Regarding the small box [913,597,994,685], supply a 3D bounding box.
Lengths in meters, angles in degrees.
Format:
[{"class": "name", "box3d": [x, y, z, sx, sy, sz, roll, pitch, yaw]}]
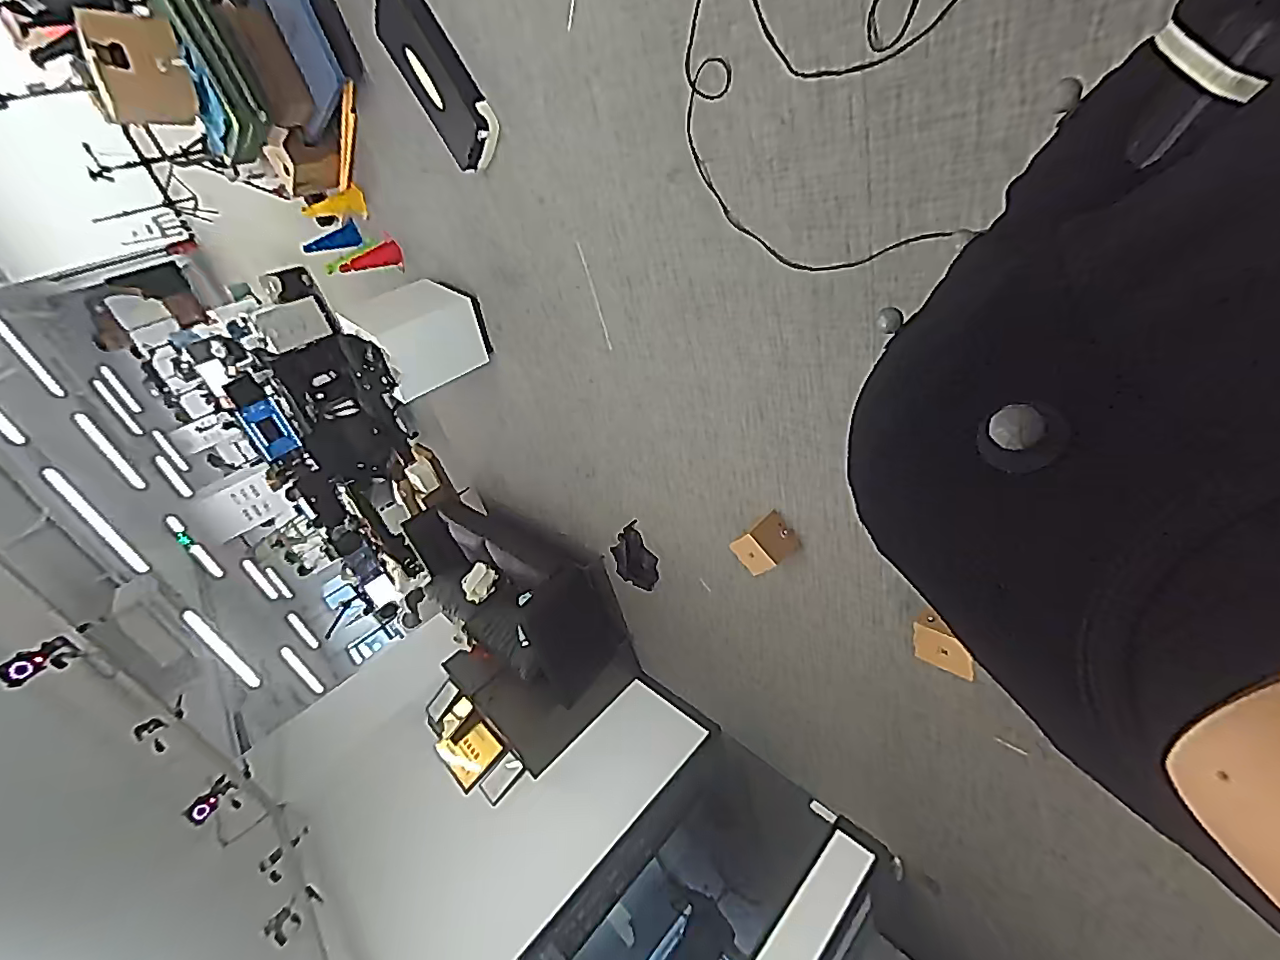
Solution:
[{"class": "small box", "box3d": [0.986, 0.497, 1.696, 0.179, 0.176, 0.168, 18, 135, 47]}]

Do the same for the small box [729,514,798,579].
[{"class": "small box", "box3d": [0.496, 0.265, 2.164, 0.168, 0.176, 0.179, 49, 150, 6]}]
